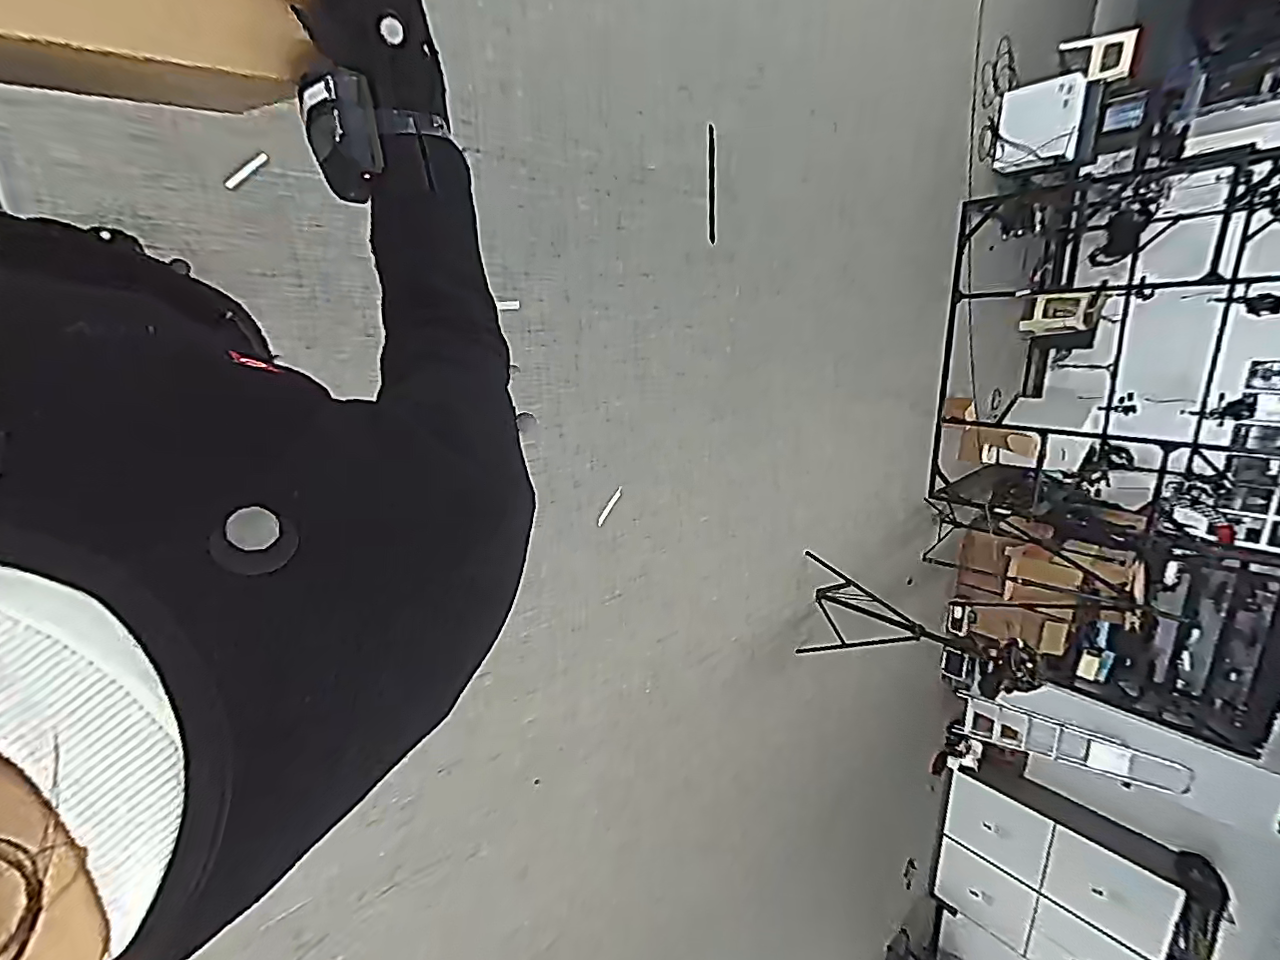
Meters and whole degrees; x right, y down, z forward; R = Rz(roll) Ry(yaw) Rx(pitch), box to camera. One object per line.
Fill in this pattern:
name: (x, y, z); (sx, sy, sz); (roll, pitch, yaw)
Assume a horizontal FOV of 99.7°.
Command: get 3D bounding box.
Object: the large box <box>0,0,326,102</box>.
large box: (-0.449, -0.407, 0.268); (0.408, 0.320, 0.320); (-20, 127, -38)
